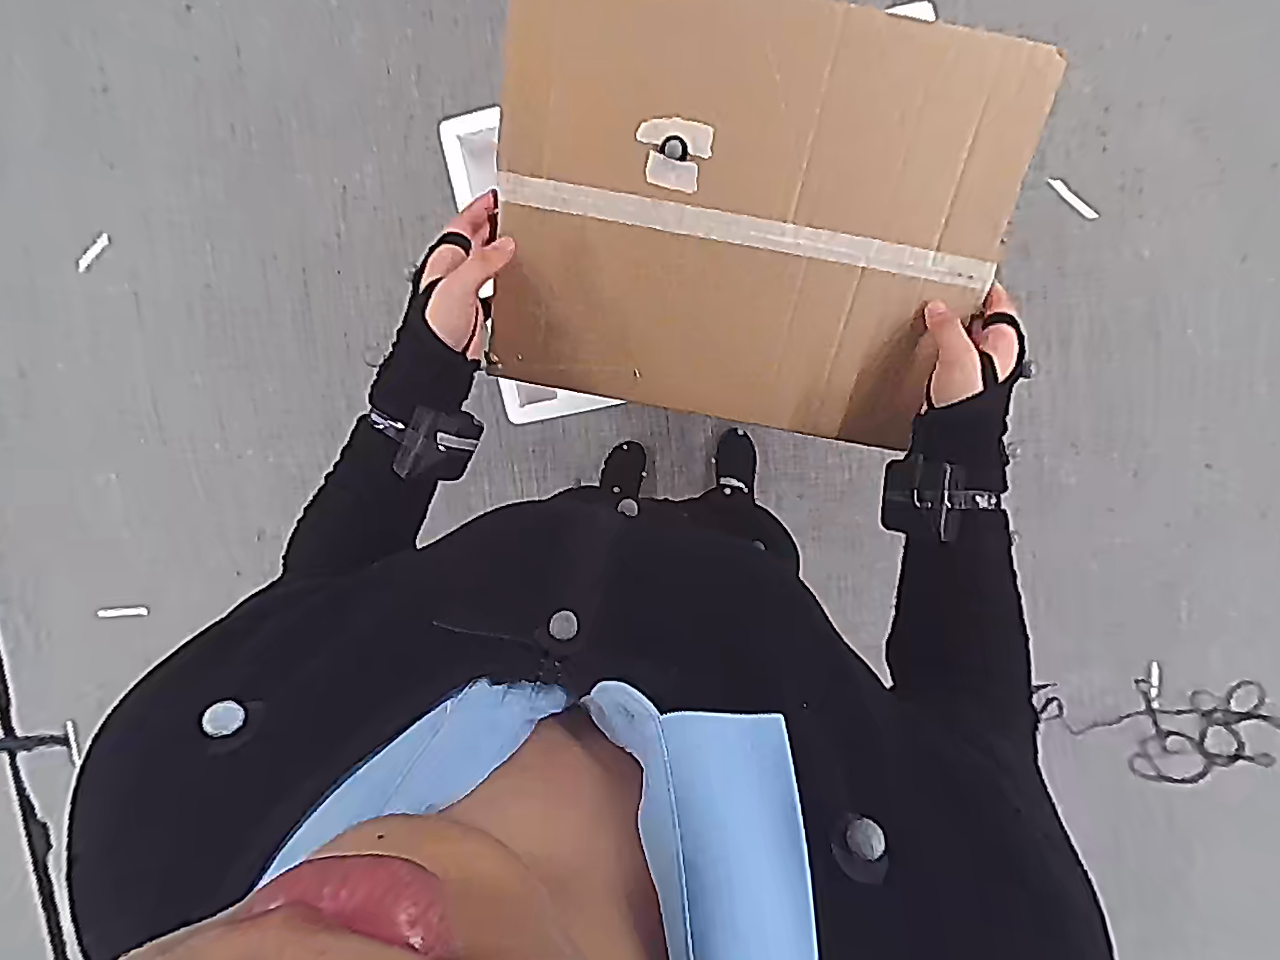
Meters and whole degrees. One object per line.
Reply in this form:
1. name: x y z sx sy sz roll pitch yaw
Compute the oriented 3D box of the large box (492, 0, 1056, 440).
1. large box: 0.091 -0.258 0.577 0.408 0.320 0.320 9 110 0
